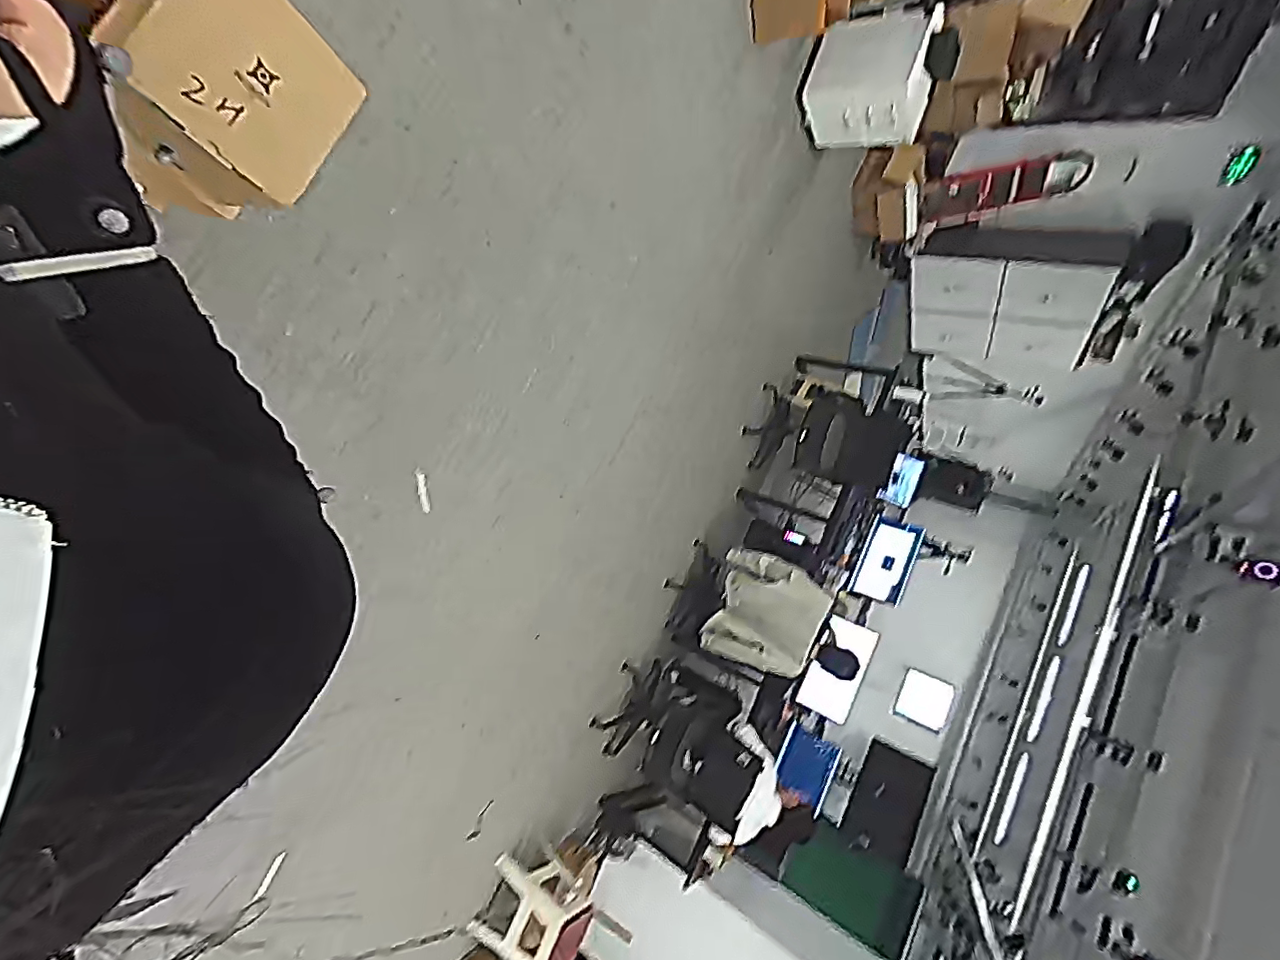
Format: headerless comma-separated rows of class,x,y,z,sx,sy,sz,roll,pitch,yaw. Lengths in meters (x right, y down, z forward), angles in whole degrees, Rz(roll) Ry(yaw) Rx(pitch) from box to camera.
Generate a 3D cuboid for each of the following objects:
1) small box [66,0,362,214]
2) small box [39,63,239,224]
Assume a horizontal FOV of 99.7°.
small box,-0.454,-0.423,0.583,0.179,0.176,0.168,-63,150,-9
small box,-0.585,-0.457,0.678,0.179,0.176,0.168,-62,149,-11
